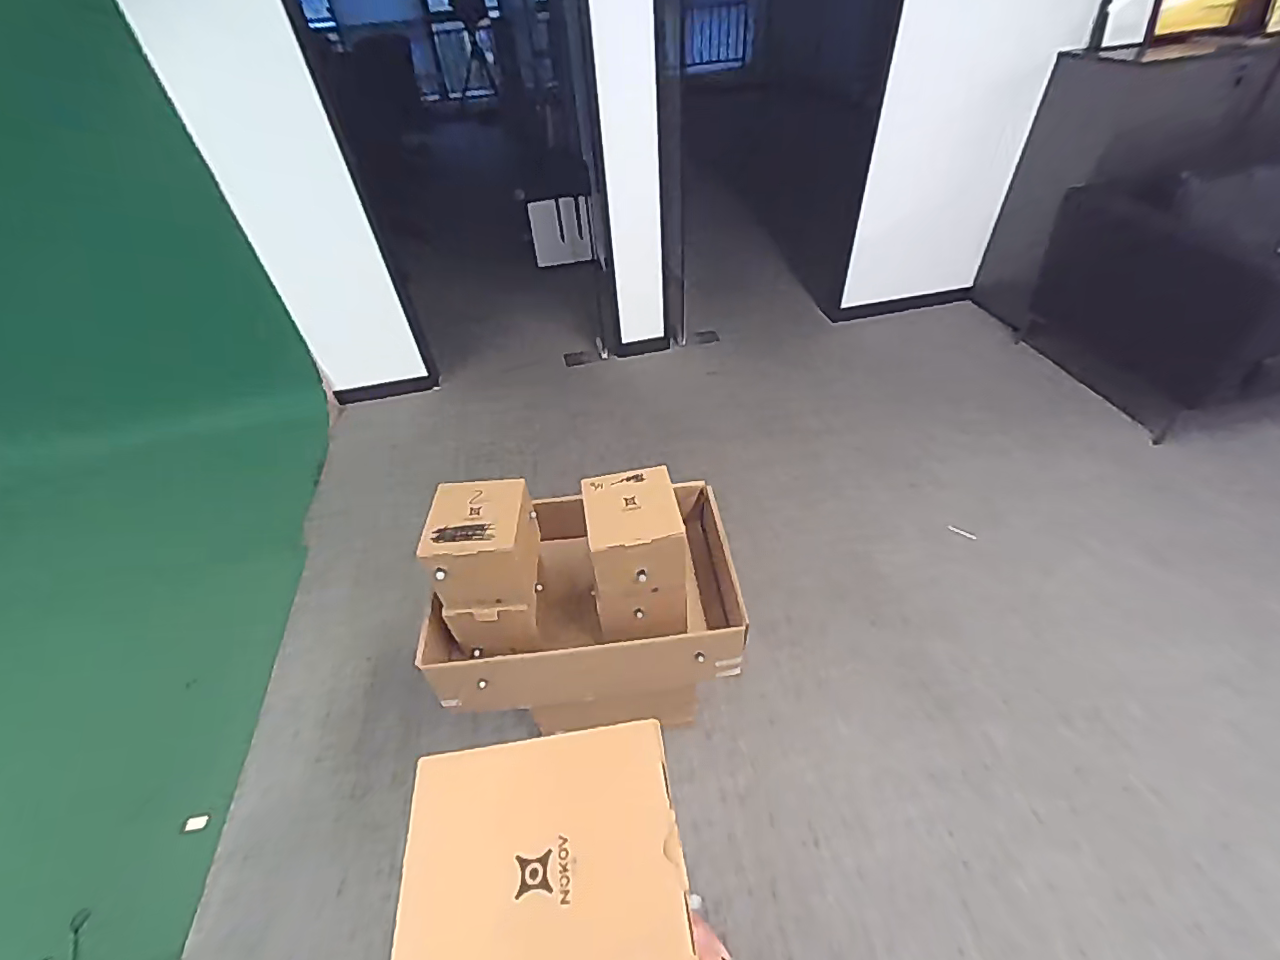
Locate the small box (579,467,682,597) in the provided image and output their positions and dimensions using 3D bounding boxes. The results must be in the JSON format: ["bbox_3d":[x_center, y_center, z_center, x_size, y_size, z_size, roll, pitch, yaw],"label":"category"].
[{"bbox_3d":[-0.016,0.104,1.015,0.168,0.176,0.179,-9,45,-4],"label":"small box"}]

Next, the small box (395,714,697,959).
[{"bbox_3d":[-0.058,0.299,0.396,0.179,0.176,0.168,-7,44,-5],"label":"small box"}]
